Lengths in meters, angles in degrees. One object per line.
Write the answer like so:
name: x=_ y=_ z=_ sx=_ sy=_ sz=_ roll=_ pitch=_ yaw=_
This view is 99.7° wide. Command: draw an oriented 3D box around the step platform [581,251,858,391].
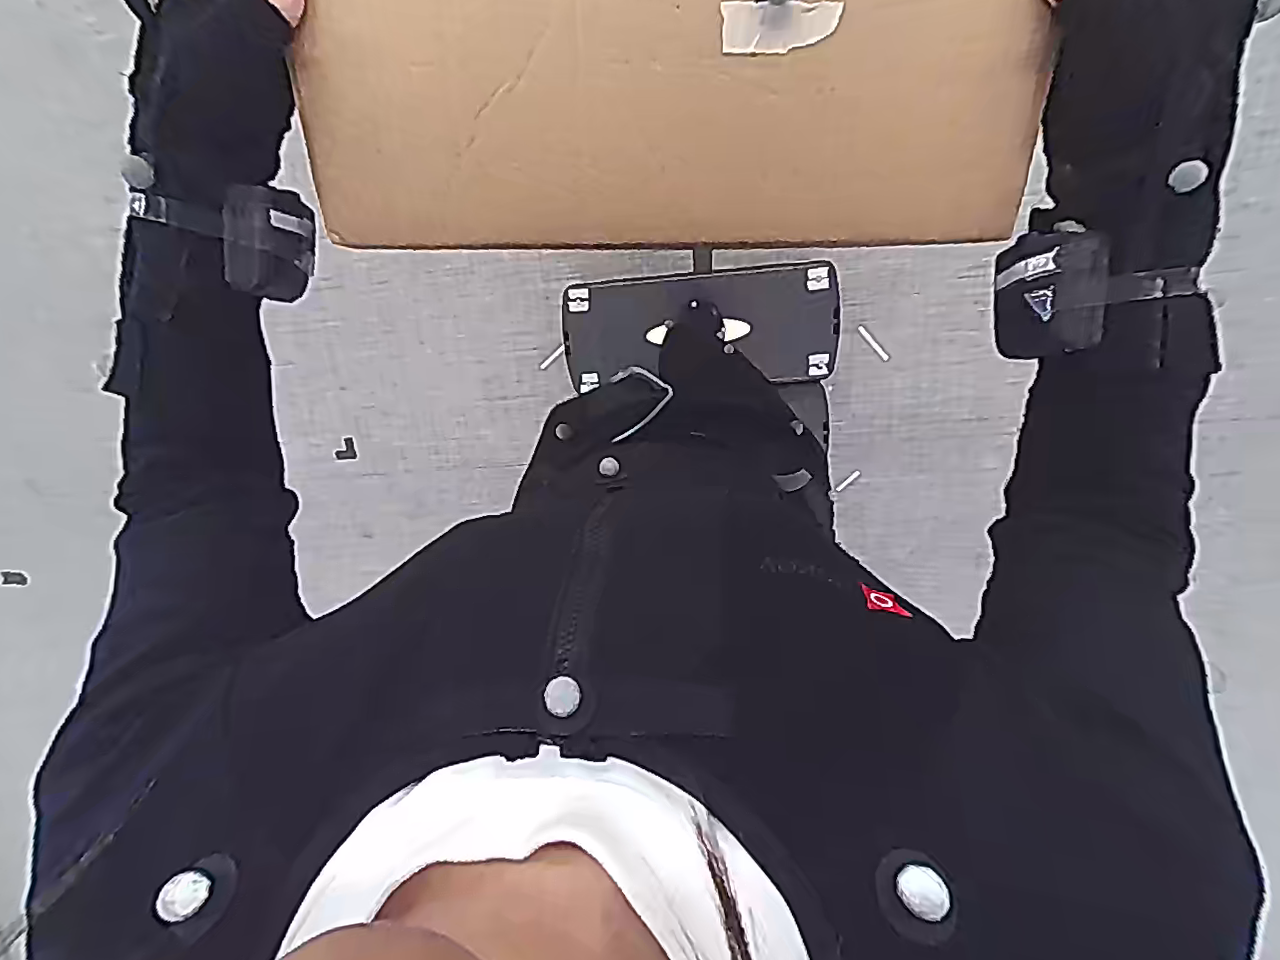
step platform: x=0.192 y=-0.399 z=1.386 sx=0.684 sy=0.204 sz=0.286 roll=-4 pitch=107 yaw=7

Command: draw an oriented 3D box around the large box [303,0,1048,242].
large box: x=0.022 y=-0.354 z=0.406 sx=0.408 sy=0.320 sz=0.320 roll=2 pitch=115 yaw=6
